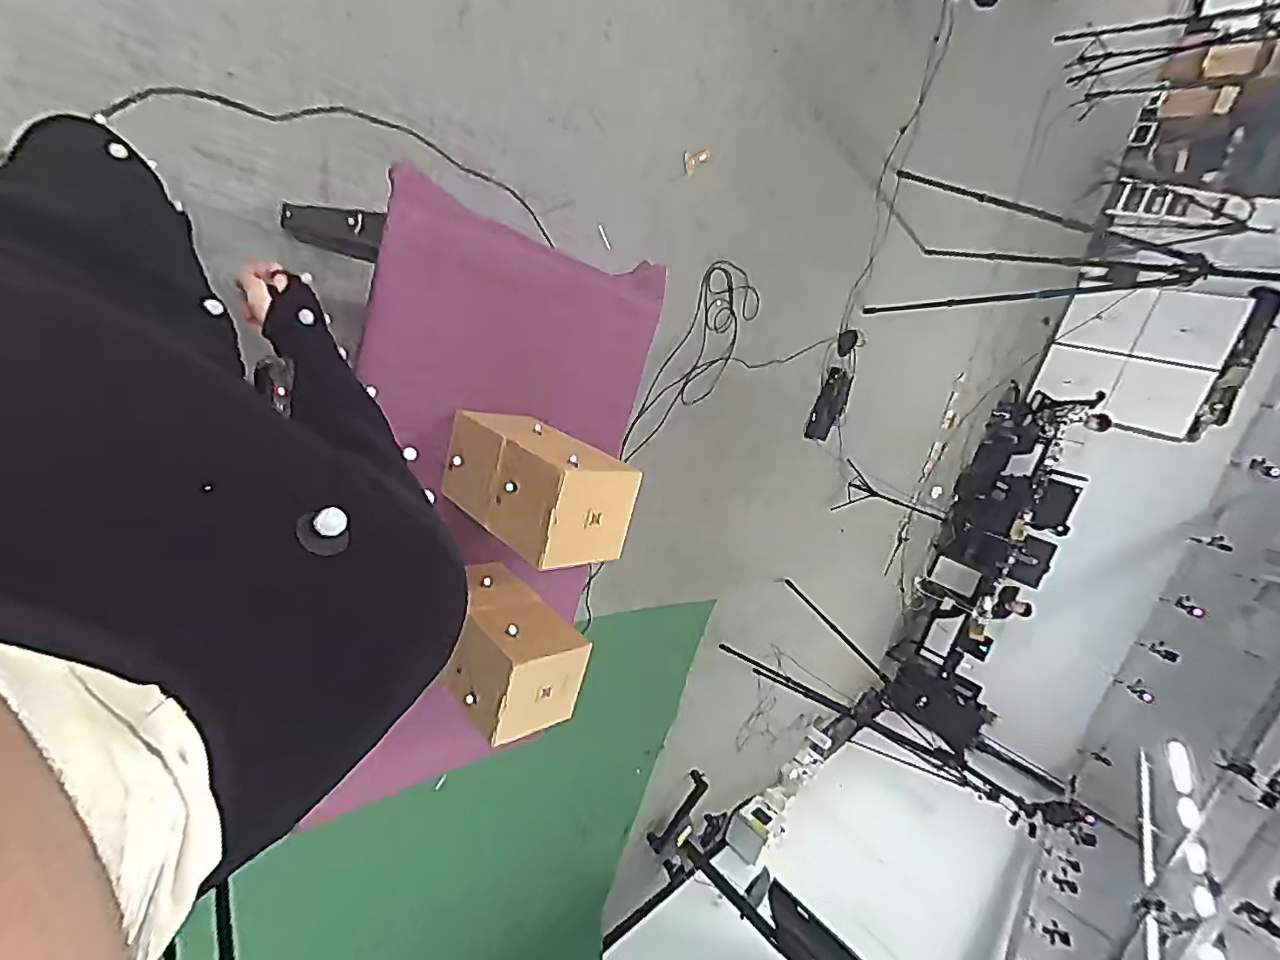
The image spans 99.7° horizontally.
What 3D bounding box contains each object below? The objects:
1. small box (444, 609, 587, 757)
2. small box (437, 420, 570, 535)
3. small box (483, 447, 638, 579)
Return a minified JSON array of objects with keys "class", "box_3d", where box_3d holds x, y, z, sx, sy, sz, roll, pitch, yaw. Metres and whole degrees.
[{"class":"small box","box_3d":[-0.231,0.356,0.986,0.179,0.176,0.168,3,109,-49]},{"class":"small box","box_3d":[-0.252,-0.009,1.019,0.179,0.176,0.168,1,110,-48]},{"class":"small box","box_3d":[-0.137,0.047,0.919,0.179,0.176,0.168,0,111,-47]}]
